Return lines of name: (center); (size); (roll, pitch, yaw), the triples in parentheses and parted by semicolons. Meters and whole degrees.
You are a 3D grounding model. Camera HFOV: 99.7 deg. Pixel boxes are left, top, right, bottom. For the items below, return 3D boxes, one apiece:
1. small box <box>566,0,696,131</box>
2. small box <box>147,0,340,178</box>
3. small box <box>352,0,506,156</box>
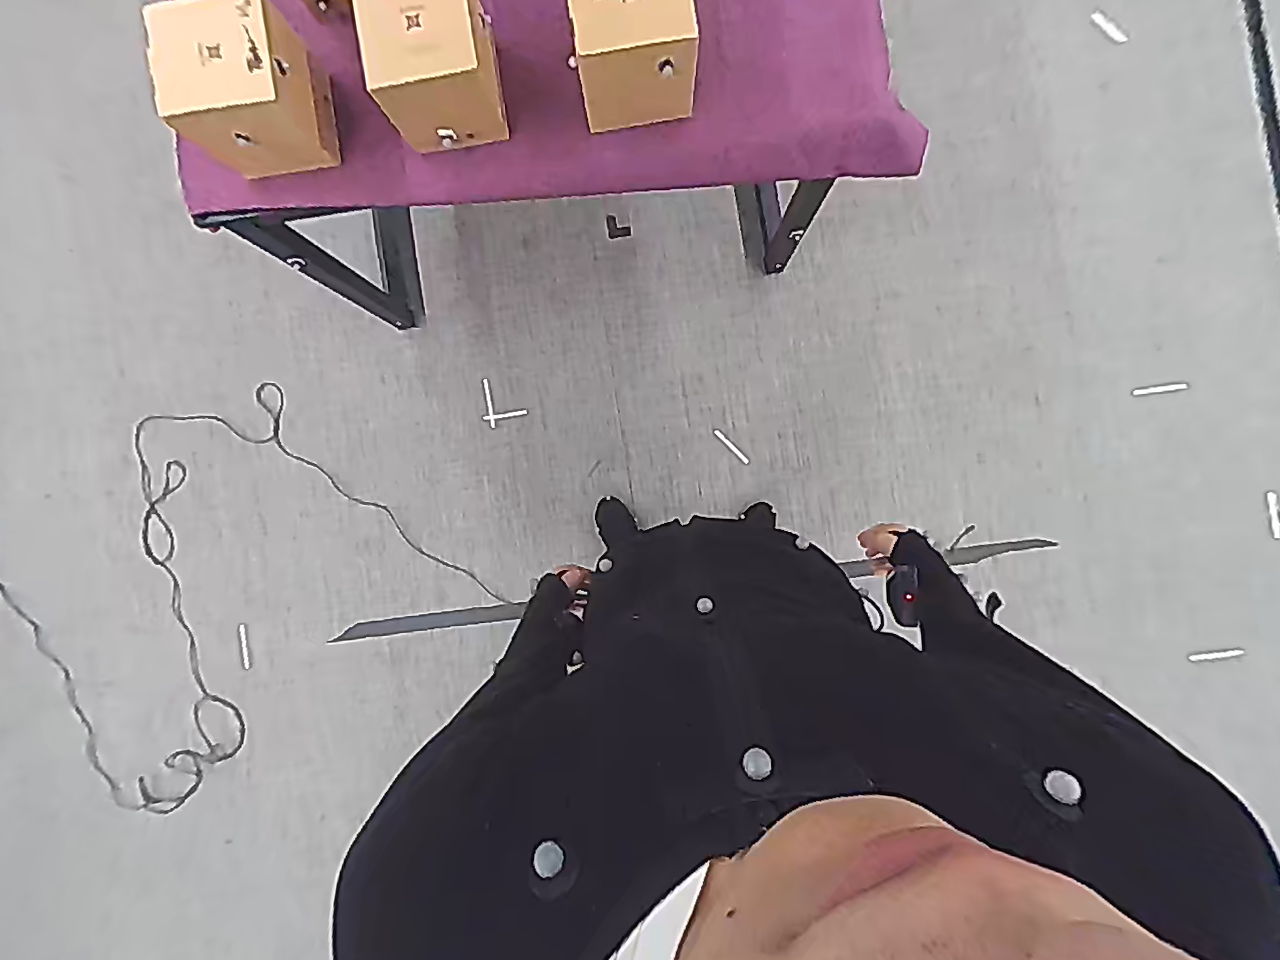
small box: (-0.016, -0.683, 0.839); (0.179, 0.176, 0.168); (-8, 89, 2)
small box: (-0.615, -0.610, 0.857); (0.179, 0.176, 0.168); (-8, 90, 2)
small box: (-0.323, -0.654, 0.852); (0.168, 0.176, 0.179); (-9, 91, 2)
